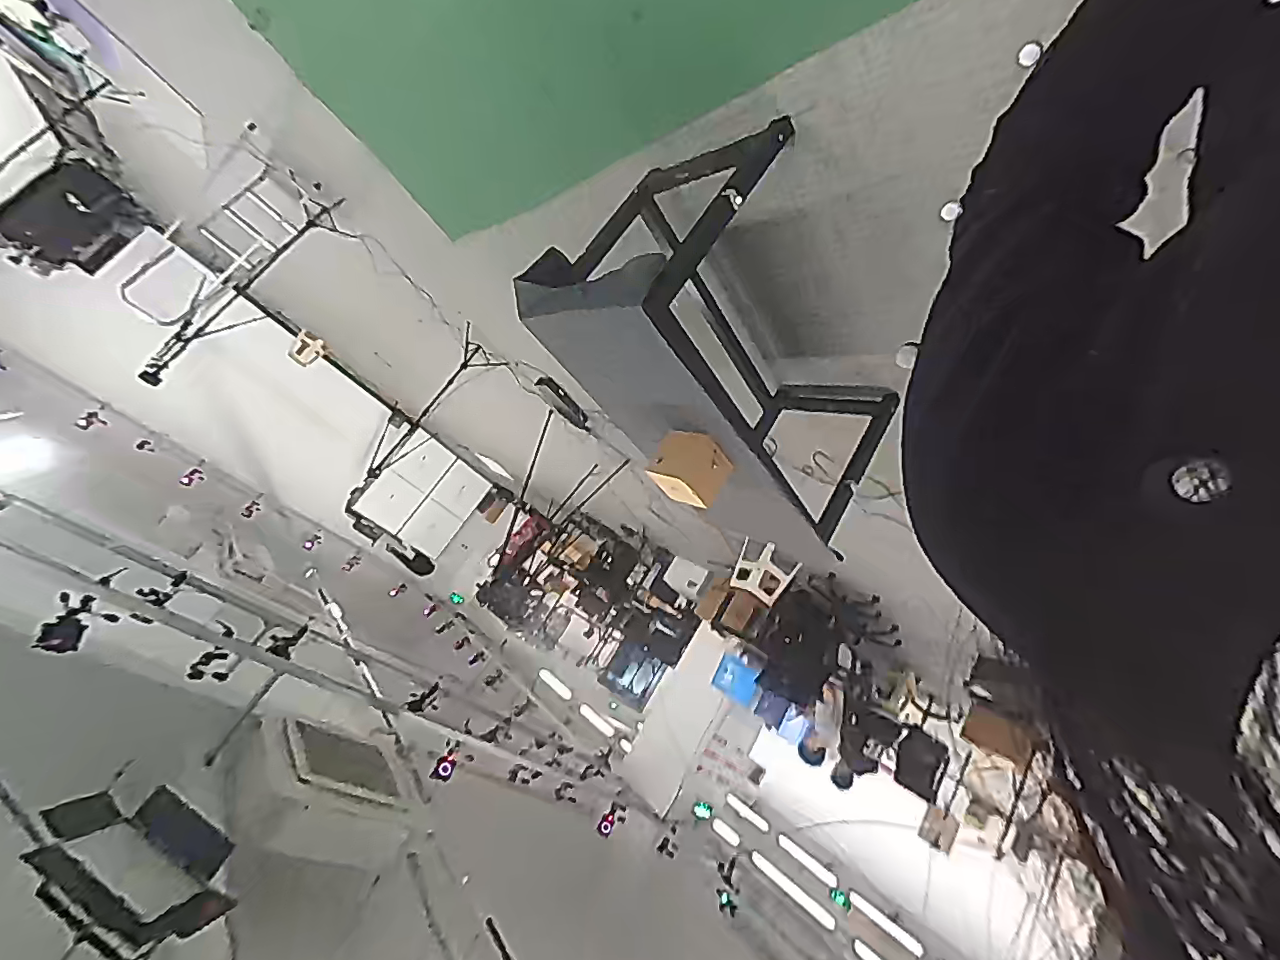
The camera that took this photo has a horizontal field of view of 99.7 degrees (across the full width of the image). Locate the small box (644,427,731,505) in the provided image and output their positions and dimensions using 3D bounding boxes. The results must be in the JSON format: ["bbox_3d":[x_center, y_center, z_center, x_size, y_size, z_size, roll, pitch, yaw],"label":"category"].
[{"bbox_3d":[0.152,-0.049,1.702,0.179,0.176,0.168,15,157,49],"label":"small box"}]
